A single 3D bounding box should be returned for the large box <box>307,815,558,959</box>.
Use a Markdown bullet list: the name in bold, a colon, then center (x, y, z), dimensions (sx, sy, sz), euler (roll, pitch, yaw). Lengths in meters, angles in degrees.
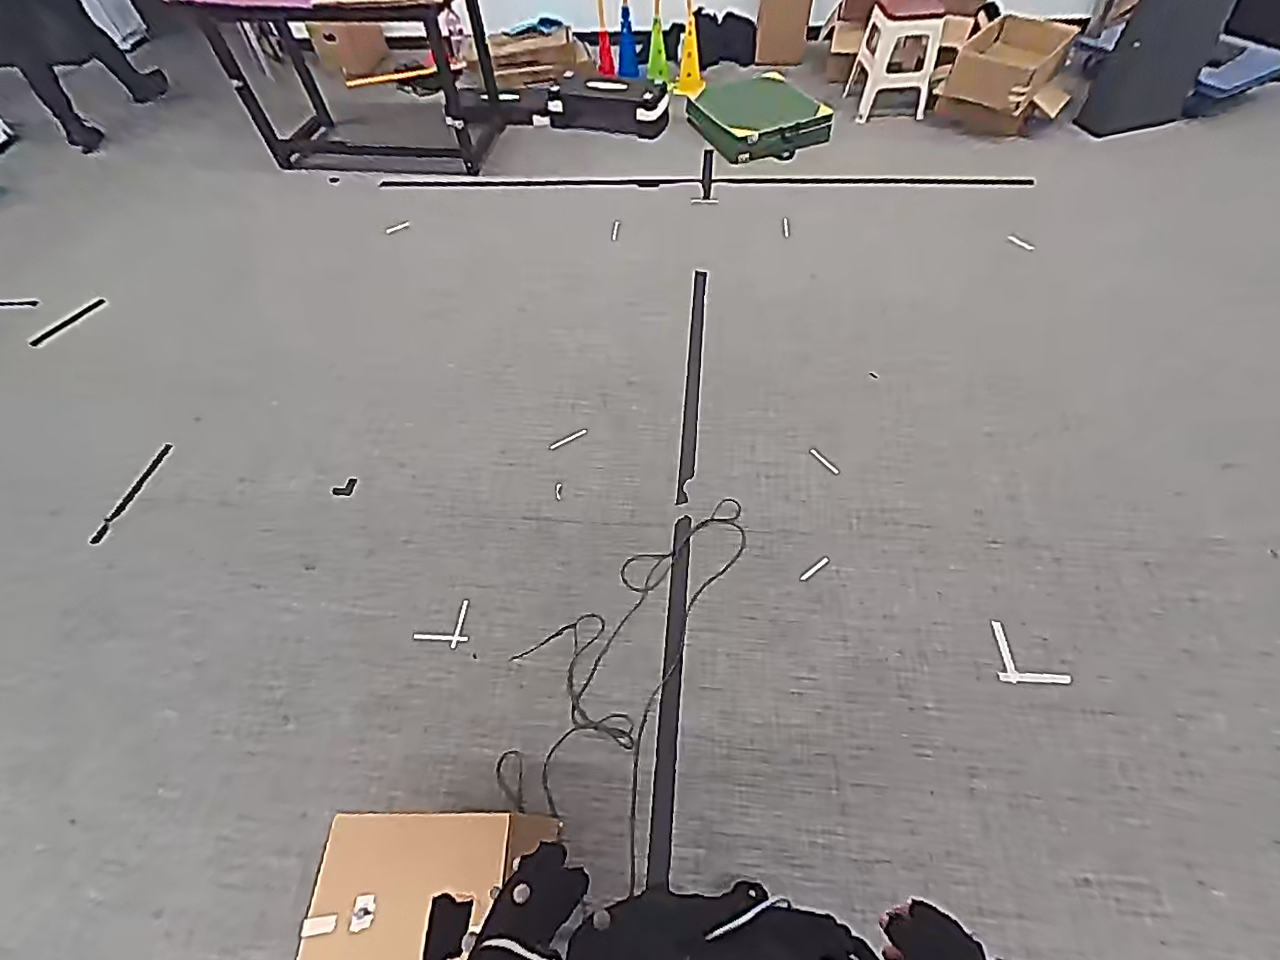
- **large box**: center (-0.353, 0.813, 1.007), dimensions (0.320, 0.408, 0.320), euler (-1, 57, 4)
